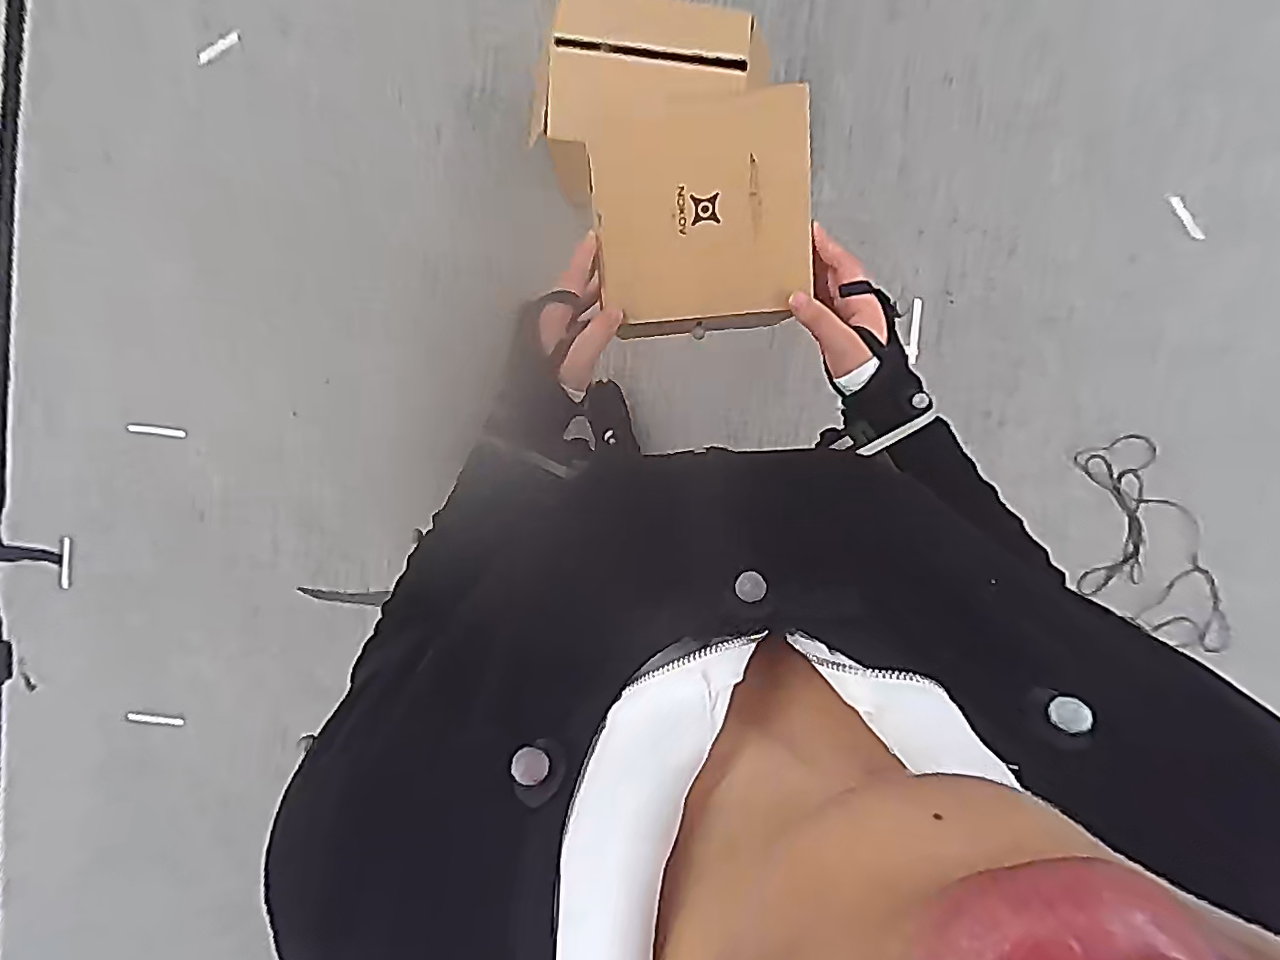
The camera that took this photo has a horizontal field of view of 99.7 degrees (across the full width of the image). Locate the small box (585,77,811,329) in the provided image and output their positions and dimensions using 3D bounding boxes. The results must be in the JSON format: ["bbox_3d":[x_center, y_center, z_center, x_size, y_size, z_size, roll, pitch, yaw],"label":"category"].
[{"bbox_3d":[0.052,-0.240,0.515,0.179,0.176,0.168,-5,101,3],"label":"small box"}]
